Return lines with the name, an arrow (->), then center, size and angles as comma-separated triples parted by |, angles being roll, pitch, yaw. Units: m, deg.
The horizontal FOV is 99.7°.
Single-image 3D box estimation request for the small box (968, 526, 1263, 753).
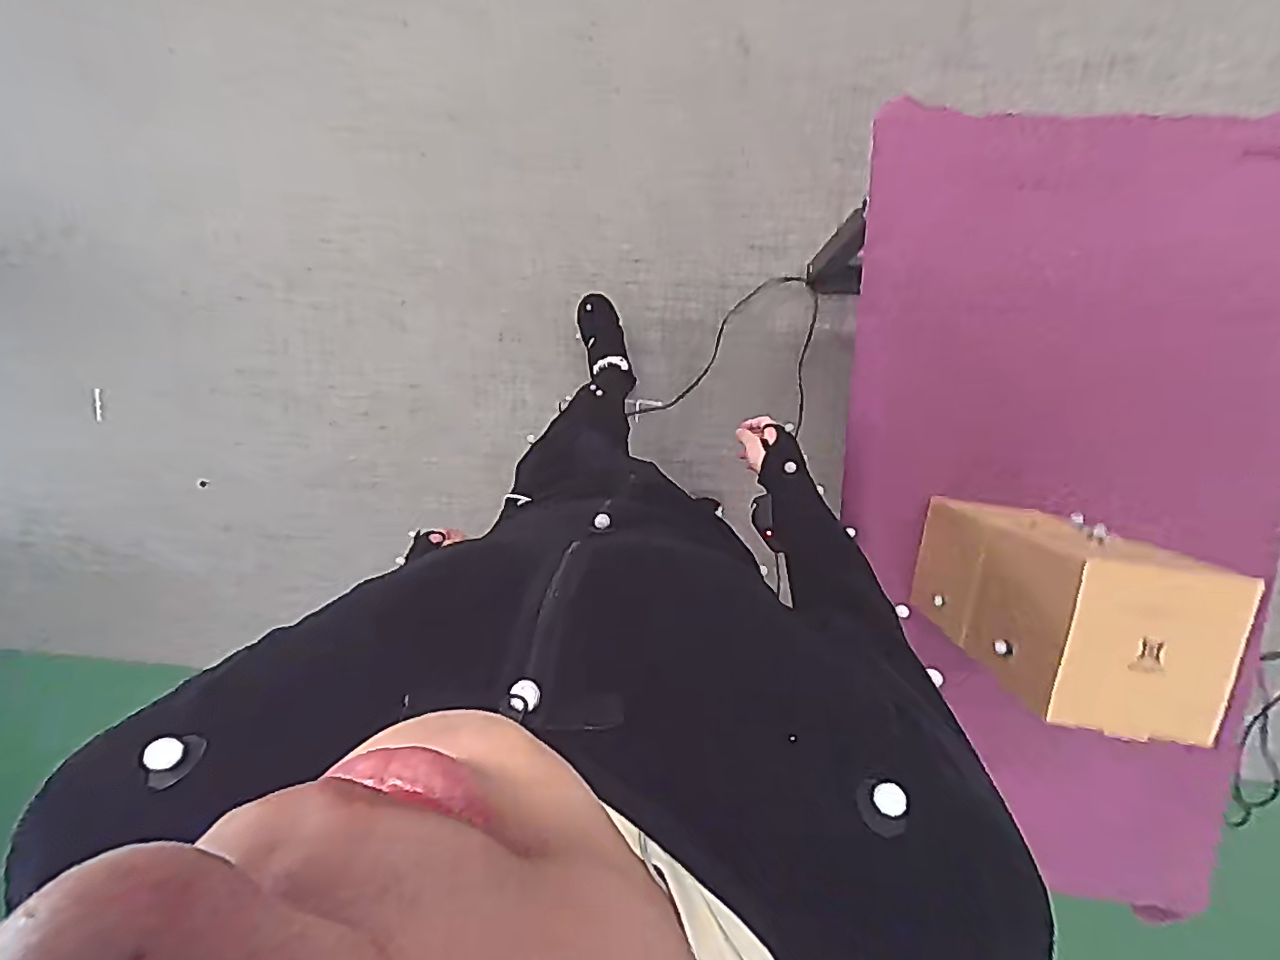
small box -> 0.502, 0.163, 0.606 | 0.168, 0.176, 0.179 | 8, 98, 4
